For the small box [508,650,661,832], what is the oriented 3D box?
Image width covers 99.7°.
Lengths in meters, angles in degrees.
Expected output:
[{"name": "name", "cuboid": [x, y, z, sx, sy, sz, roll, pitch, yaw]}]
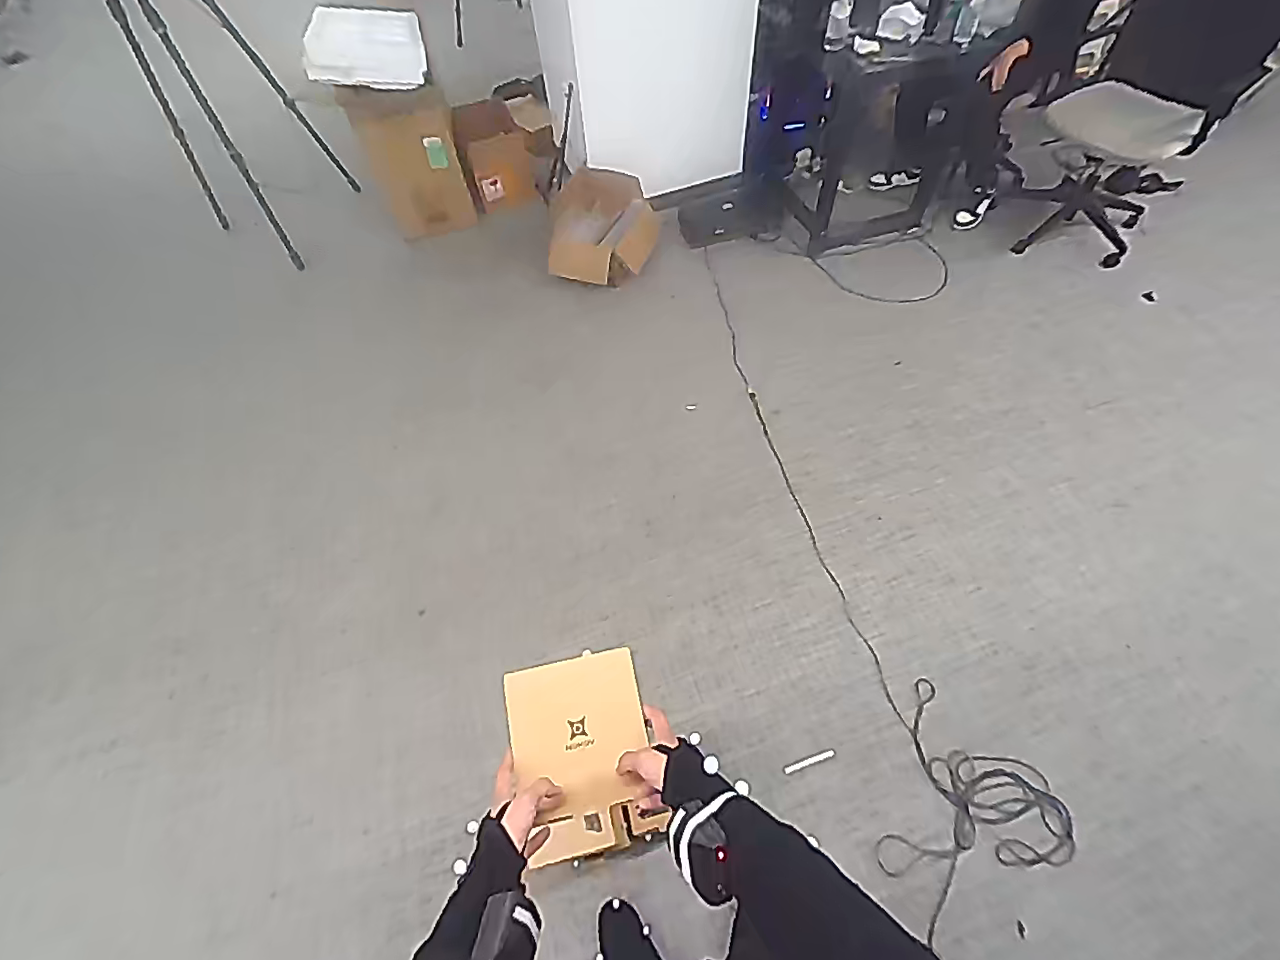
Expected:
[{"name": "small box", "cuboid": [-0.073, 0.342, 0.729, 0.168, 0.176, 0.179, -11, 68, -6]}]

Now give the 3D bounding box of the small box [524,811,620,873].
[{"name": "small box", "cuboid": [-0.142, 0.710, 1.146, 0.179, 0.176, 0.168, -14, 56, -4]}]
